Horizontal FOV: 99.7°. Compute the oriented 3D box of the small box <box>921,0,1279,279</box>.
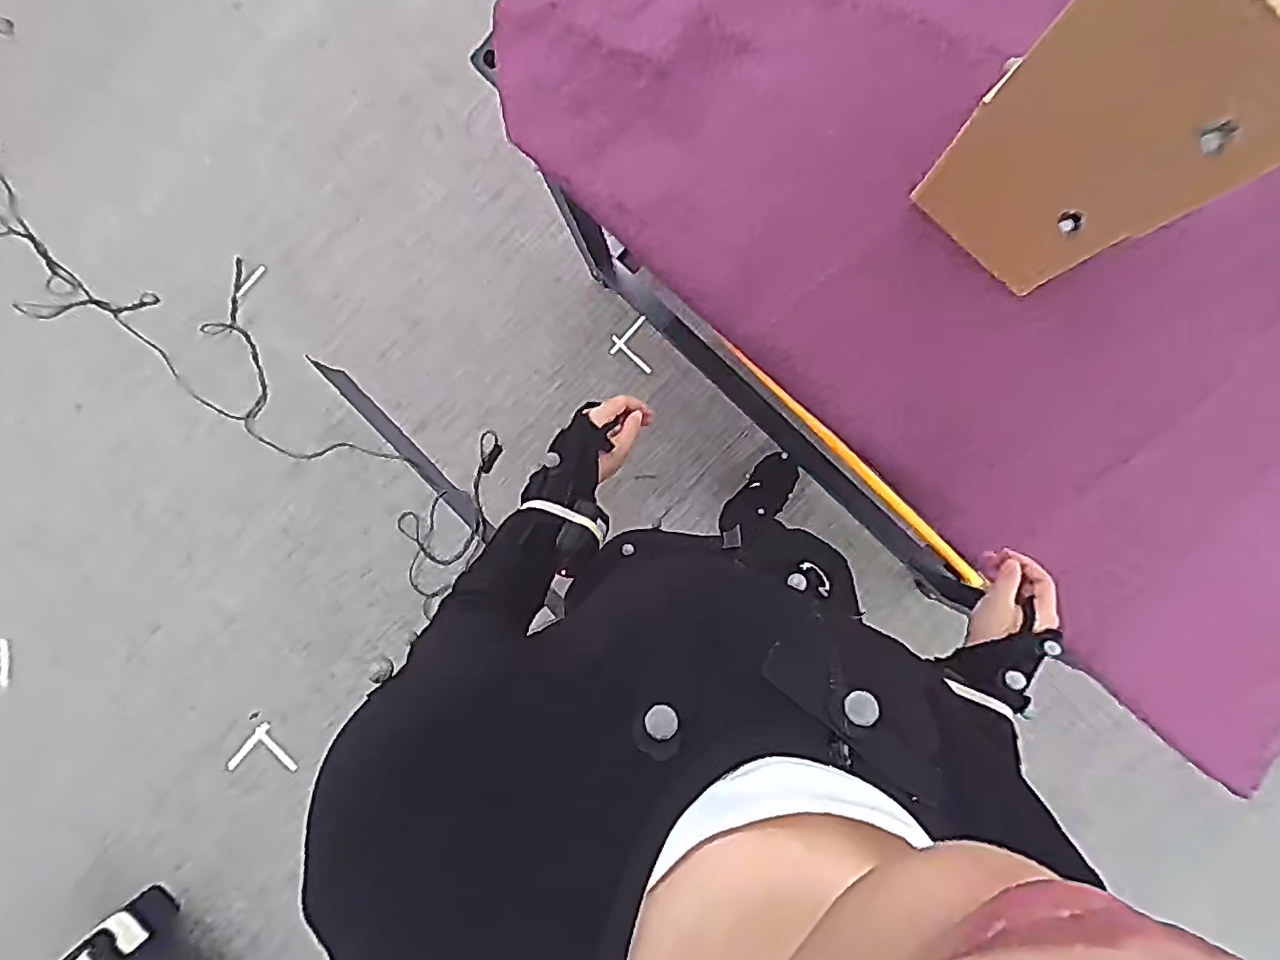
[{"bbox_3d":[0.426,-0.336,0.539,0.179,0.176,0.168,44,94,3],"label":"small box"}]

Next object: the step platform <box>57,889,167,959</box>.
[{"bbox_3d":[-1.262,1.473,1.426,0.684,0.204,0.286,44,94,3],"label":"step platform"}]
